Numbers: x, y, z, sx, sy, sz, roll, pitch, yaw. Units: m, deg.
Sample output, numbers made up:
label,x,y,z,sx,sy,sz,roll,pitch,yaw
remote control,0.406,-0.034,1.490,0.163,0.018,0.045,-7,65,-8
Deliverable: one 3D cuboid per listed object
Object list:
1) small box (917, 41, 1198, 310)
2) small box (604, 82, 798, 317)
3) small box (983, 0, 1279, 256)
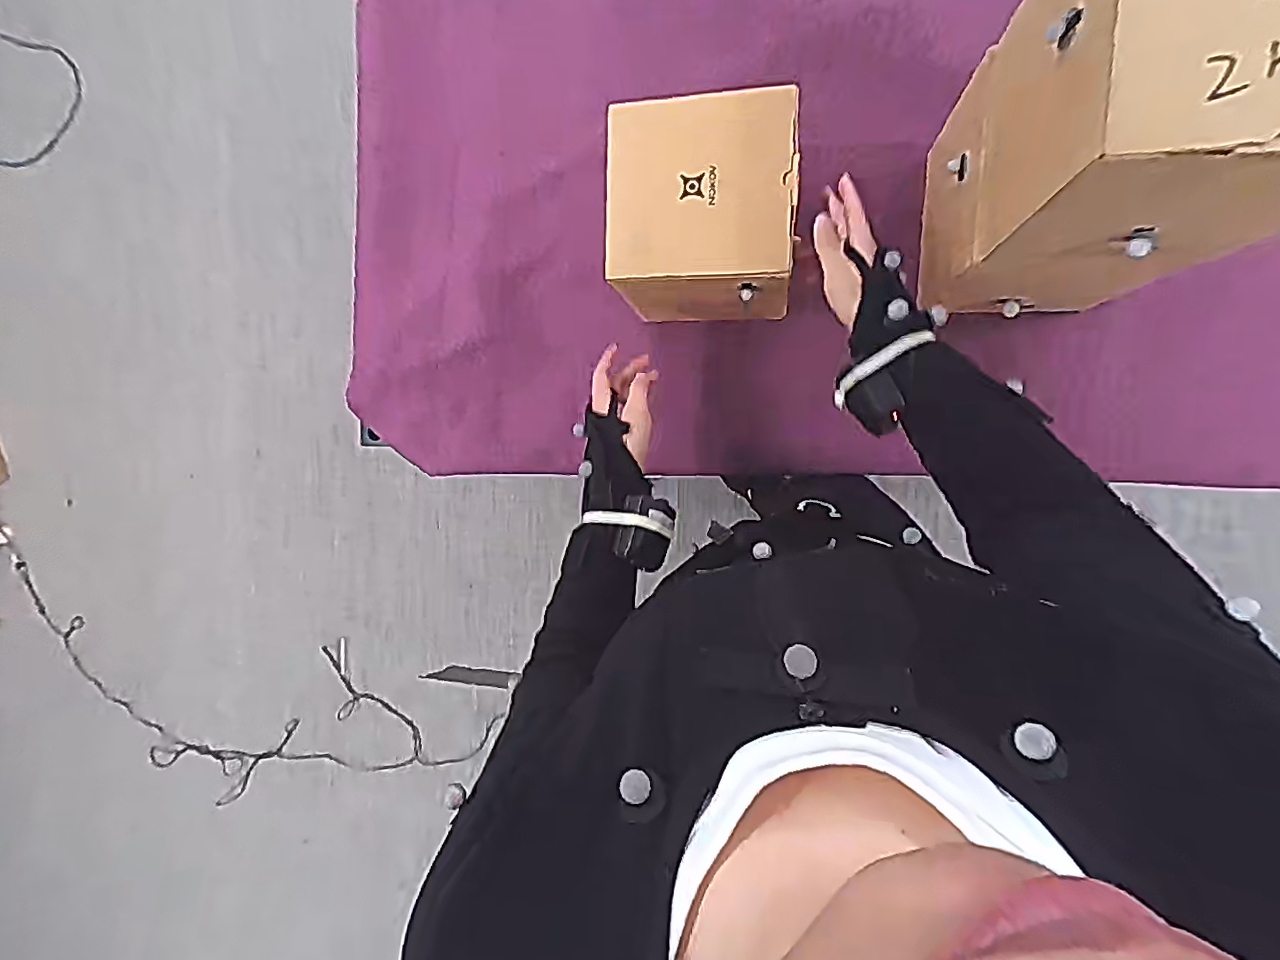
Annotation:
label,x,y,z,sx,sy,sz,roll,pitch,yaw
small box,0.377,-0.272,0.511,0.168,0.176,0.179,3,94,12
small box,0.070,-0.278,0.578,0.179,0.176,0.168,2,93,11
small box,0.347,-0.264,0.348,0.168,0.176,0.179,3,93,13
